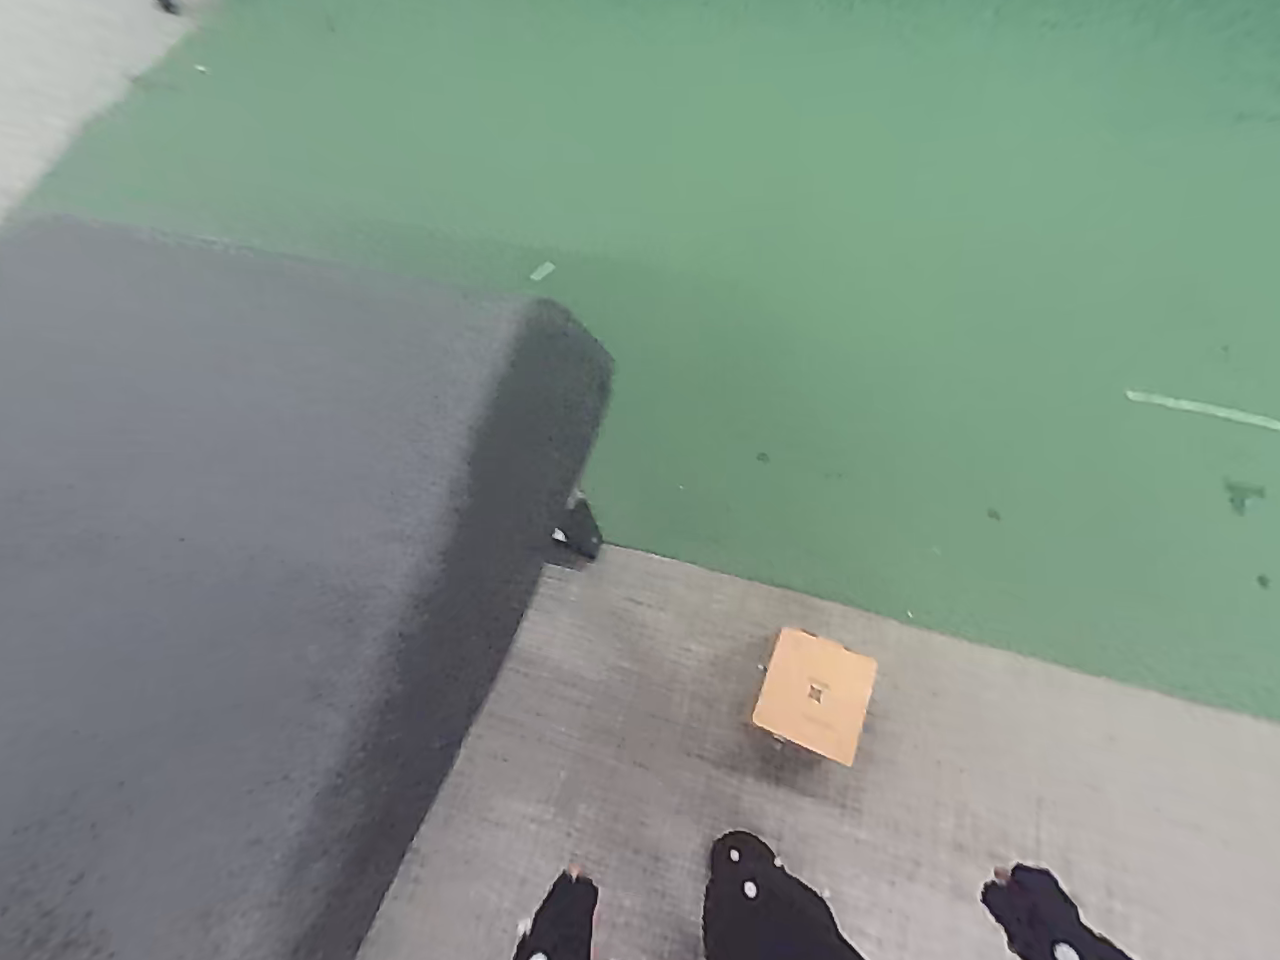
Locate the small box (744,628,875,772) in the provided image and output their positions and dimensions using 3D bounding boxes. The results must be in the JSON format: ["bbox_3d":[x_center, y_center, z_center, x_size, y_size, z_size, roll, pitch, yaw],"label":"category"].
[{"bbox_3d":[0.293,0.388,0.966,0.168,0.176,0.179,20,70,13],"label":"small box"}]
